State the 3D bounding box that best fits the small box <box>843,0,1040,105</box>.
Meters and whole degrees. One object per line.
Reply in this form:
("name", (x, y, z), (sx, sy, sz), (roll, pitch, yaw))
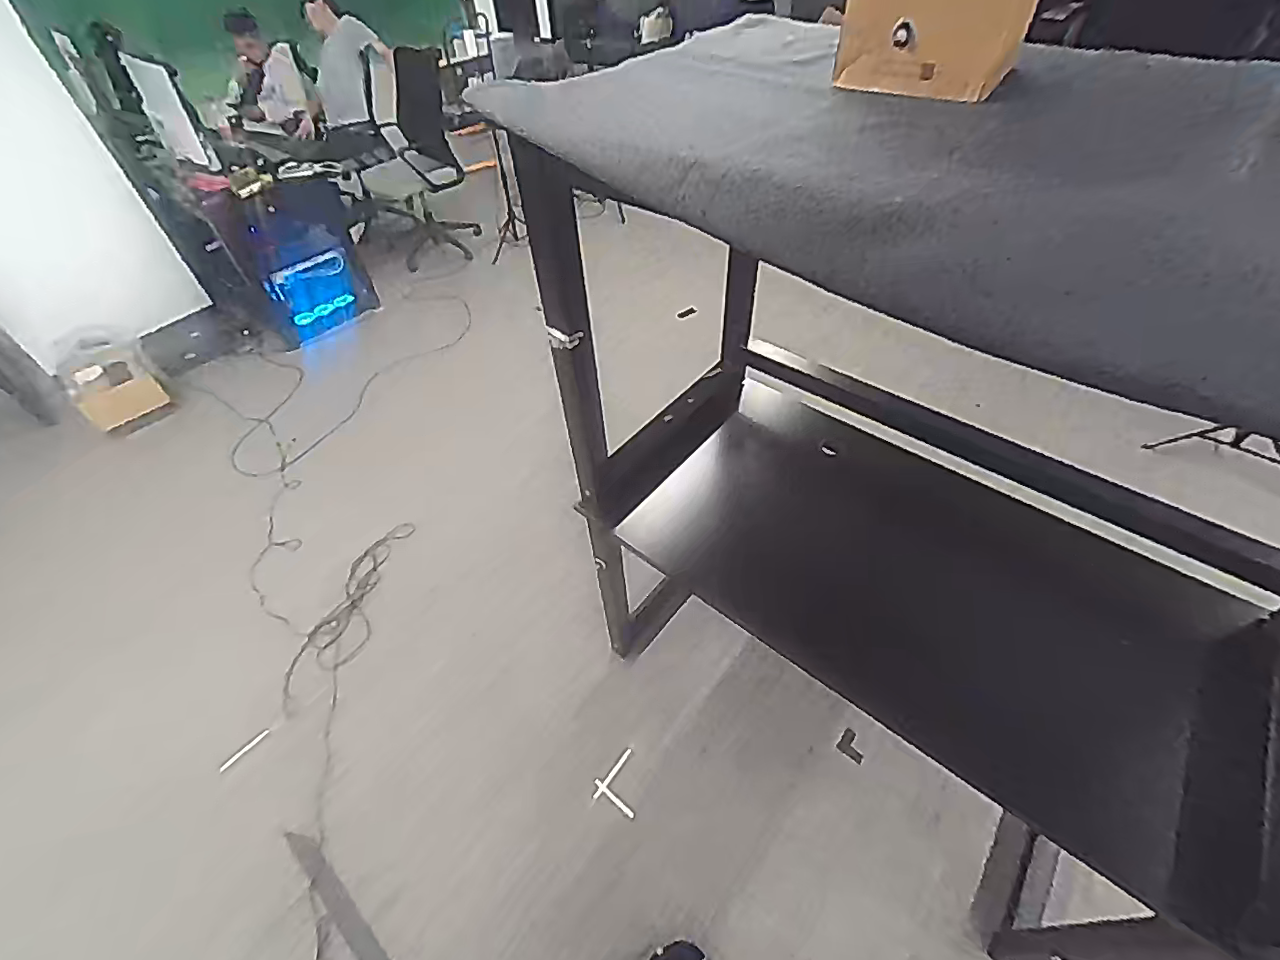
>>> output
("small box", (0.342, -0.538, 0.590), (0.168, 0.176, 0.179), (26, 55, 23))
